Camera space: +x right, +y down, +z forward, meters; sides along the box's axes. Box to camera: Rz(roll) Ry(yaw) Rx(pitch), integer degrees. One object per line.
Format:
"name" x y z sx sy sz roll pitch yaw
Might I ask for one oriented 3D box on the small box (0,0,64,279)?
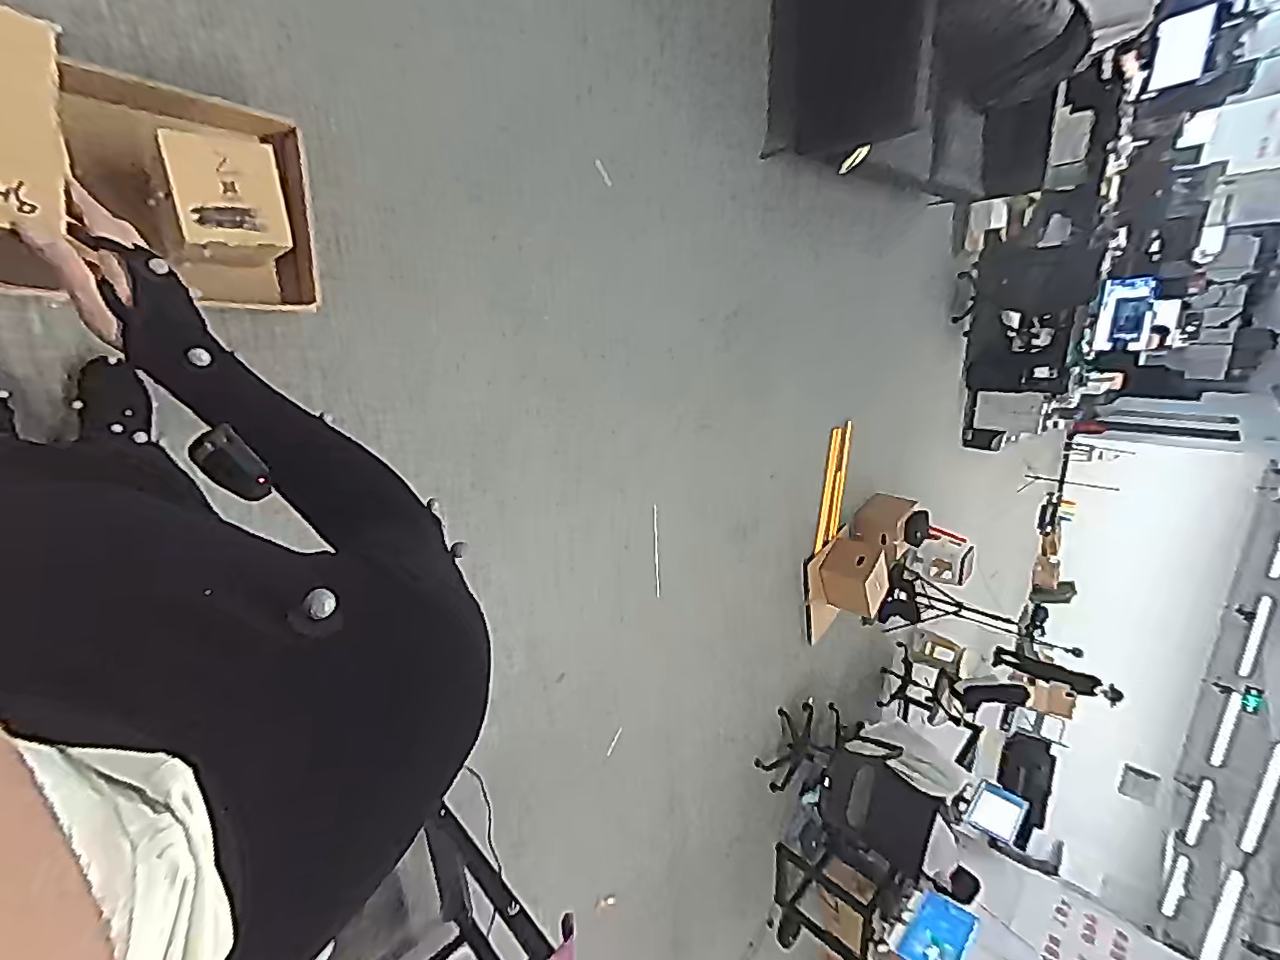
"small box" -0.570 -0.280 0.418 0.168 0.176 0.179 -3 92 -47
